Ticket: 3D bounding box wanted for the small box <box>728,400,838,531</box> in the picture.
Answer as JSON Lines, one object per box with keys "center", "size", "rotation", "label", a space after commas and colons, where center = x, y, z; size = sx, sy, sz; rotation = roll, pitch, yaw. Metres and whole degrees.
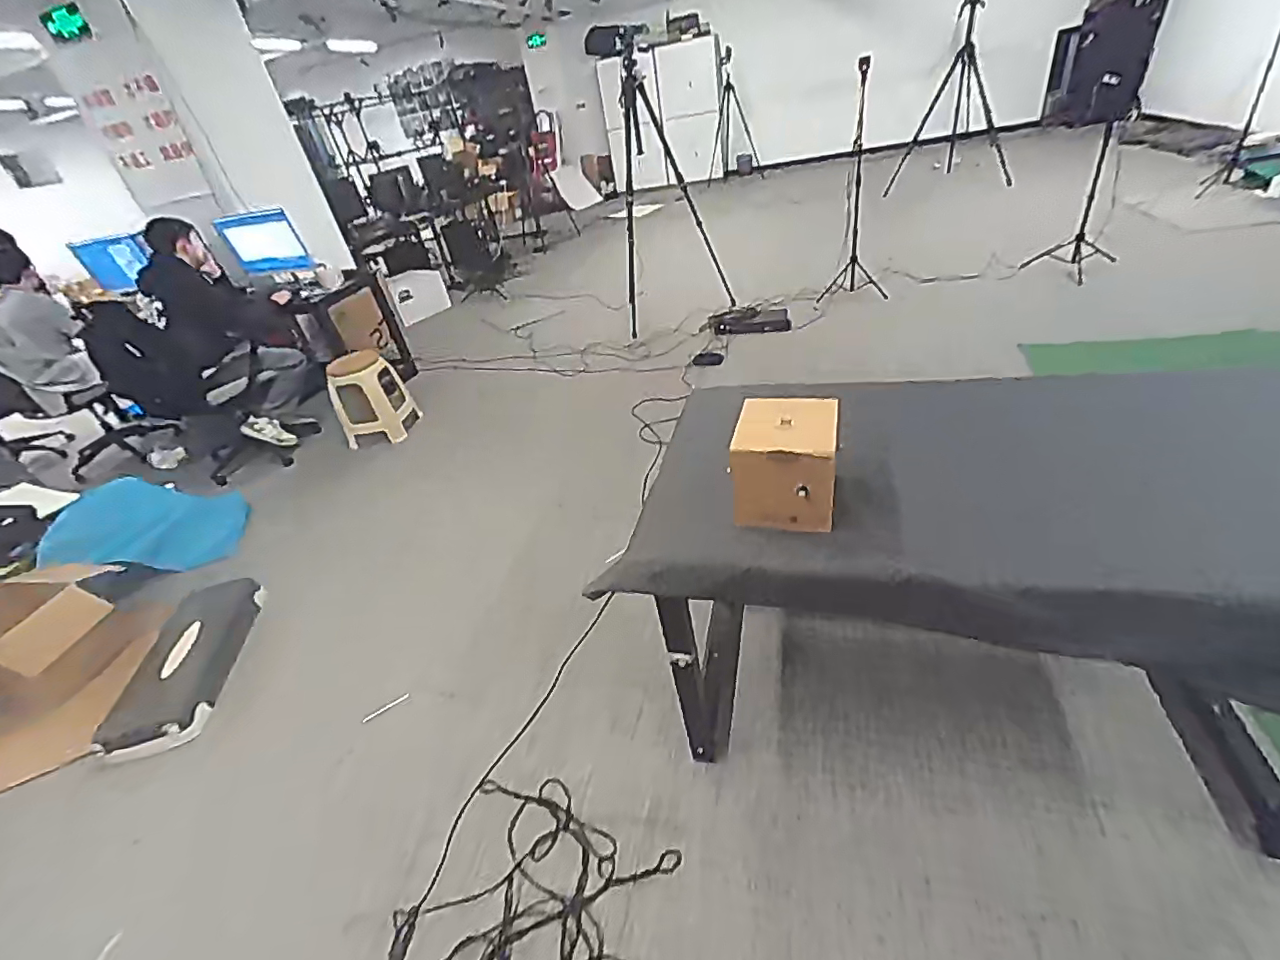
{"center": [0.256, -0.028, 0.953], "size": [0.168, 0.176, 0.179], "rotation": [4, 36, 19], "label": "small box"}
